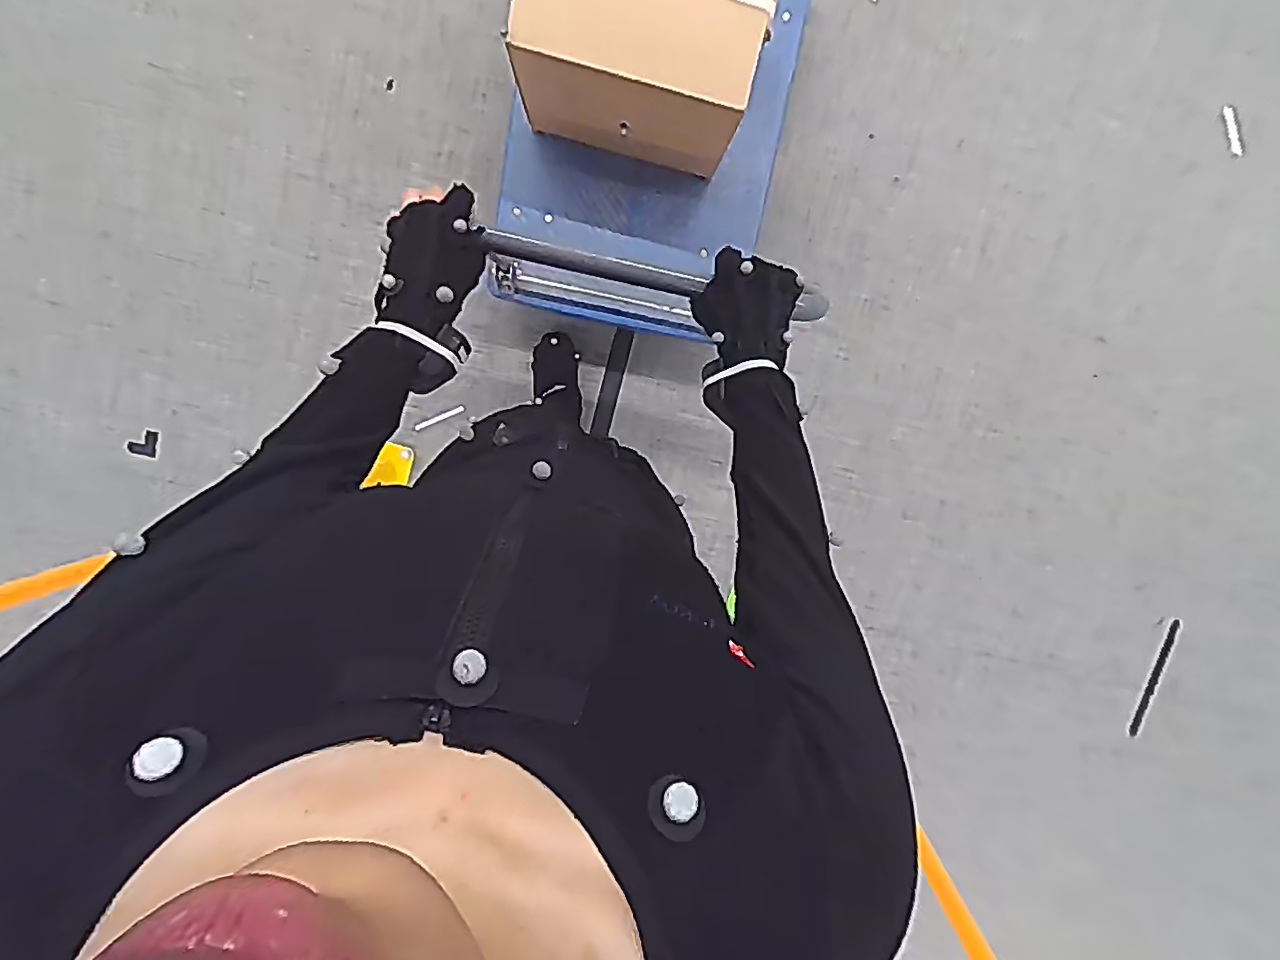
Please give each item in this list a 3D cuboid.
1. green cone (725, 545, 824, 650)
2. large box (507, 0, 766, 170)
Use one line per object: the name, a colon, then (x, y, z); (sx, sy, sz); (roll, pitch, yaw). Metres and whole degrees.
green cone: (0.373, 0.331, 1.380); (0.202, 0.368, 0.200); (17, 99, -7)
large box: (0.004, -0.833, 1.008); (0.408, 0.320, 0.320); (12, 100, -5)
